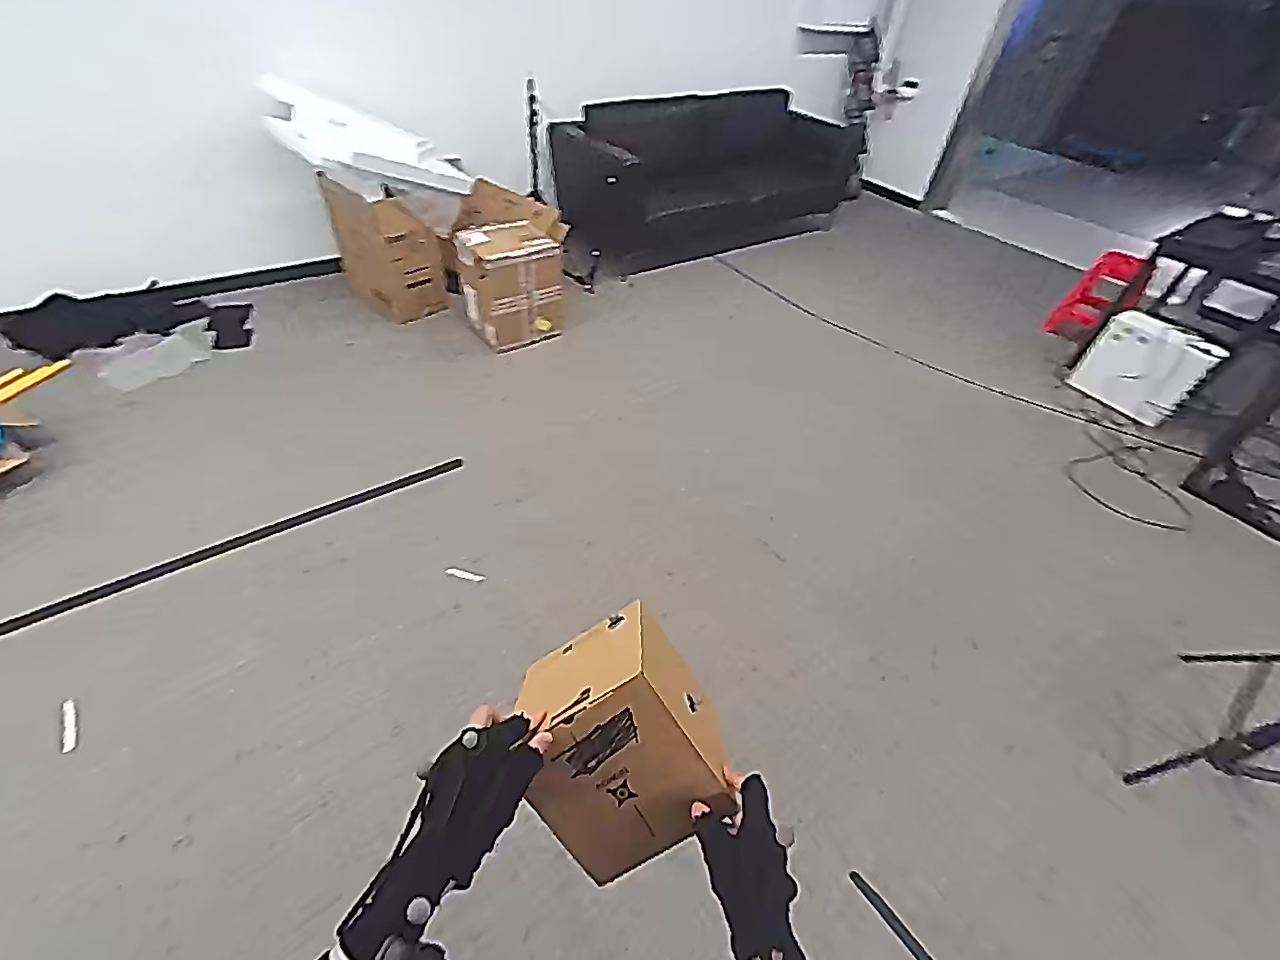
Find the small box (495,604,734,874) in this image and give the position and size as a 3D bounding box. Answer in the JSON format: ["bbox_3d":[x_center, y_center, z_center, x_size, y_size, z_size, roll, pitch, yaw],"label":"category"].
[{"bbox_3d":[-0.025,0.259,0.587,0.168,0.179,0.176,-34,9,6],"label":"small box"}]
